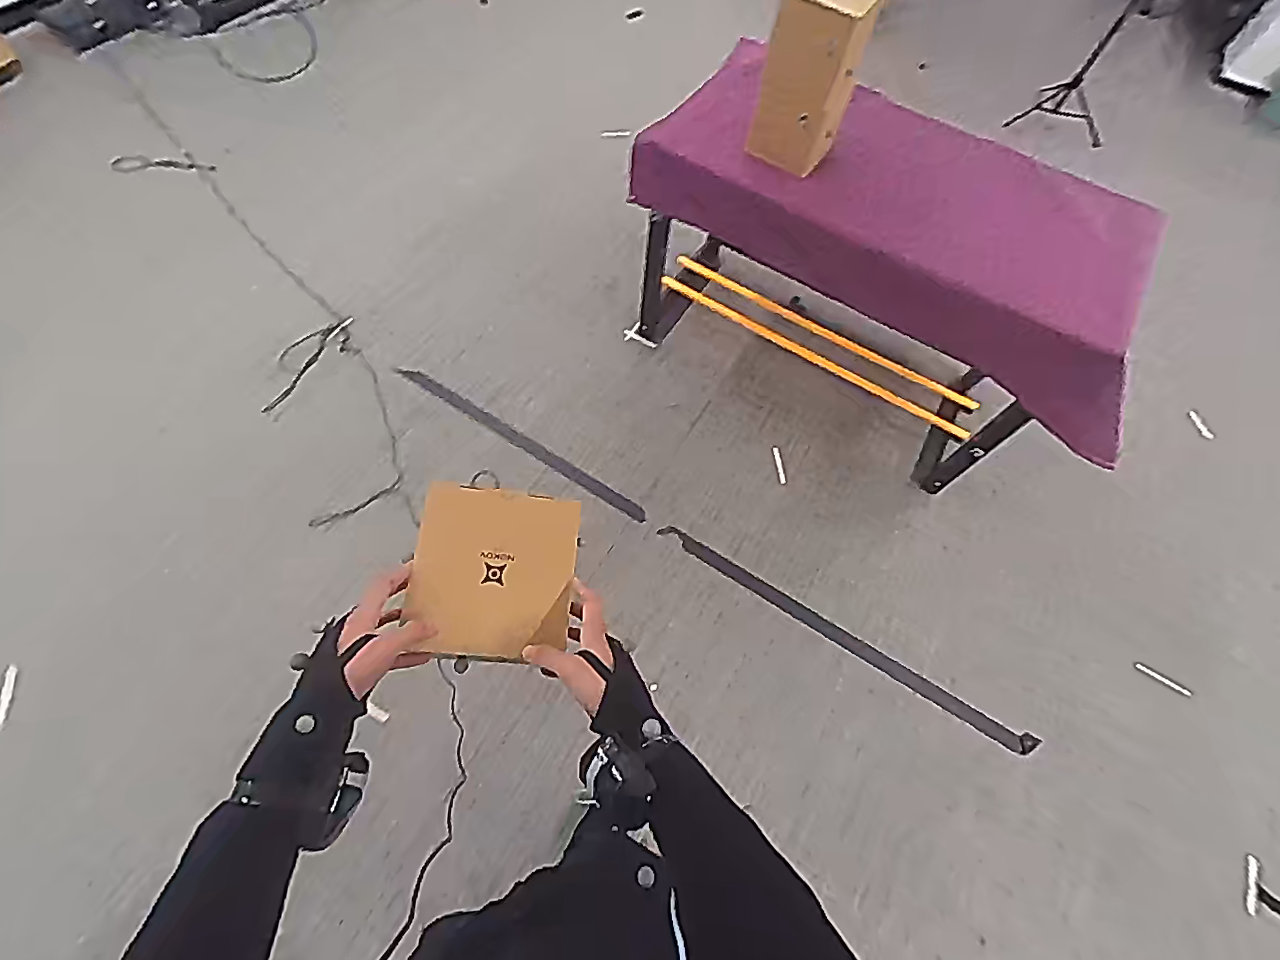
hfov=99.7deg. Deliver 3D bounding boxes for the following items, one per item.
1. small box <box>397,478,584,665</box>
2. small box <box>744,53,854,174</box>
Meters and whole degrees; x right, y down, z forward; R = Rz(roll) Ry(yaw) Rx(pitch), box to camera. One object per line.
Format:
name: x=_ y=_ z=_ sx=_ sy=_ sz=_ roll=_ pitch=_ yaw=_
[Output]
small box: x=-0.165 y=0.117 z=0.631 sx=0.168 sy=0.176 sz=0.179 roll=9 pitch=67 yaw=-12
small box: x=0.382 y=-0.888 z=1.324 sx=0.179 sy=0.176 sz=0.168 roll=32 pitch=65 yaw=11
